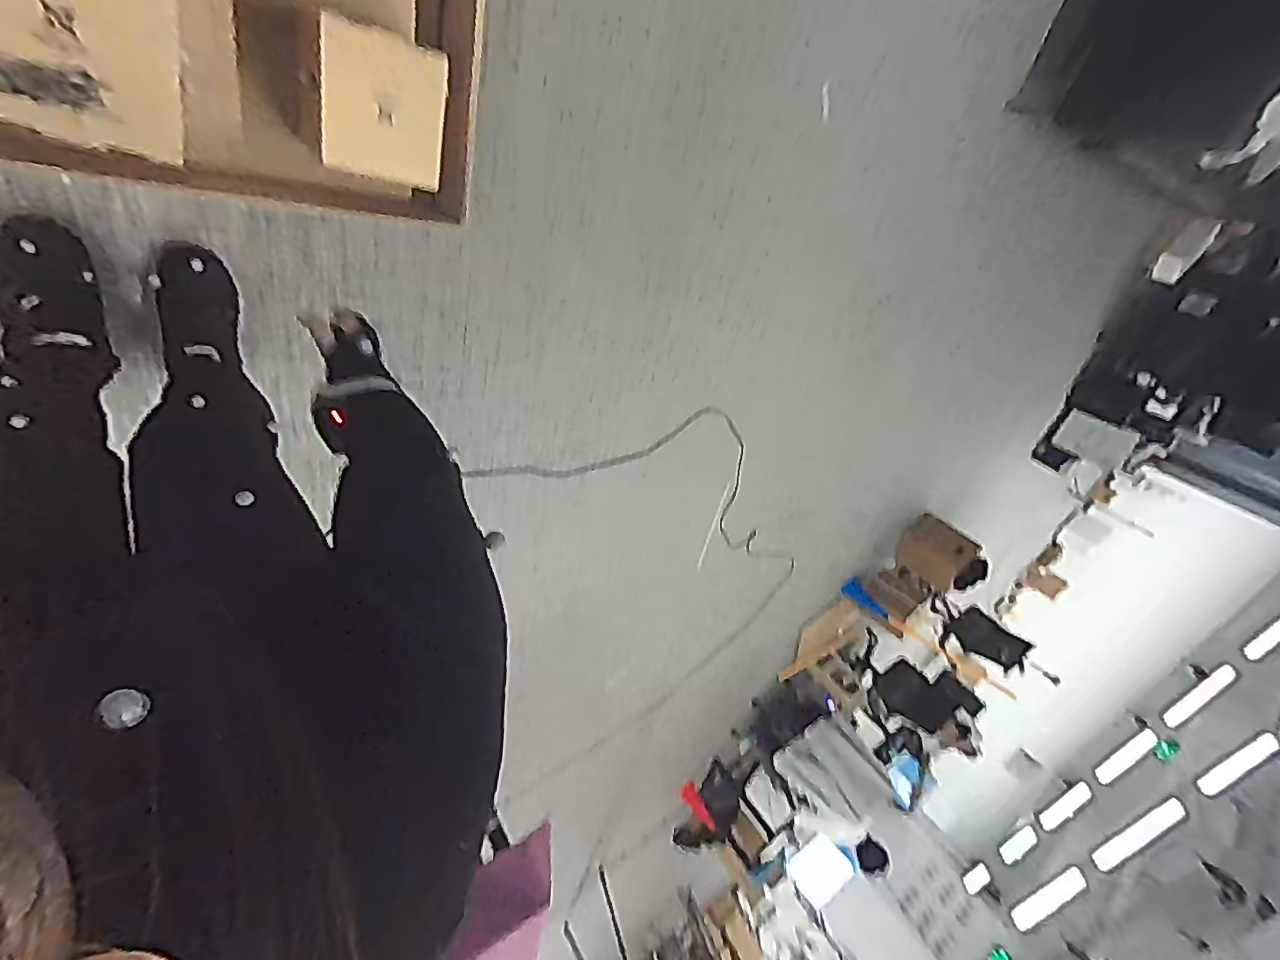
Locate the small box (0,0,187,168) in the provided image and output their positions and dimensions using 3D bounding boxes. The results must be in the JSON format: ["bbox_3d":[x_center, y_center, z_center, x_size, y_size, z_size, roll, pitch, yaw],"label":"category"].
[{"bbox_3d":[-0.560,-0.442,0.535,0.168,0.176,0.179,-5,125,-41],"label":"small box"}]
